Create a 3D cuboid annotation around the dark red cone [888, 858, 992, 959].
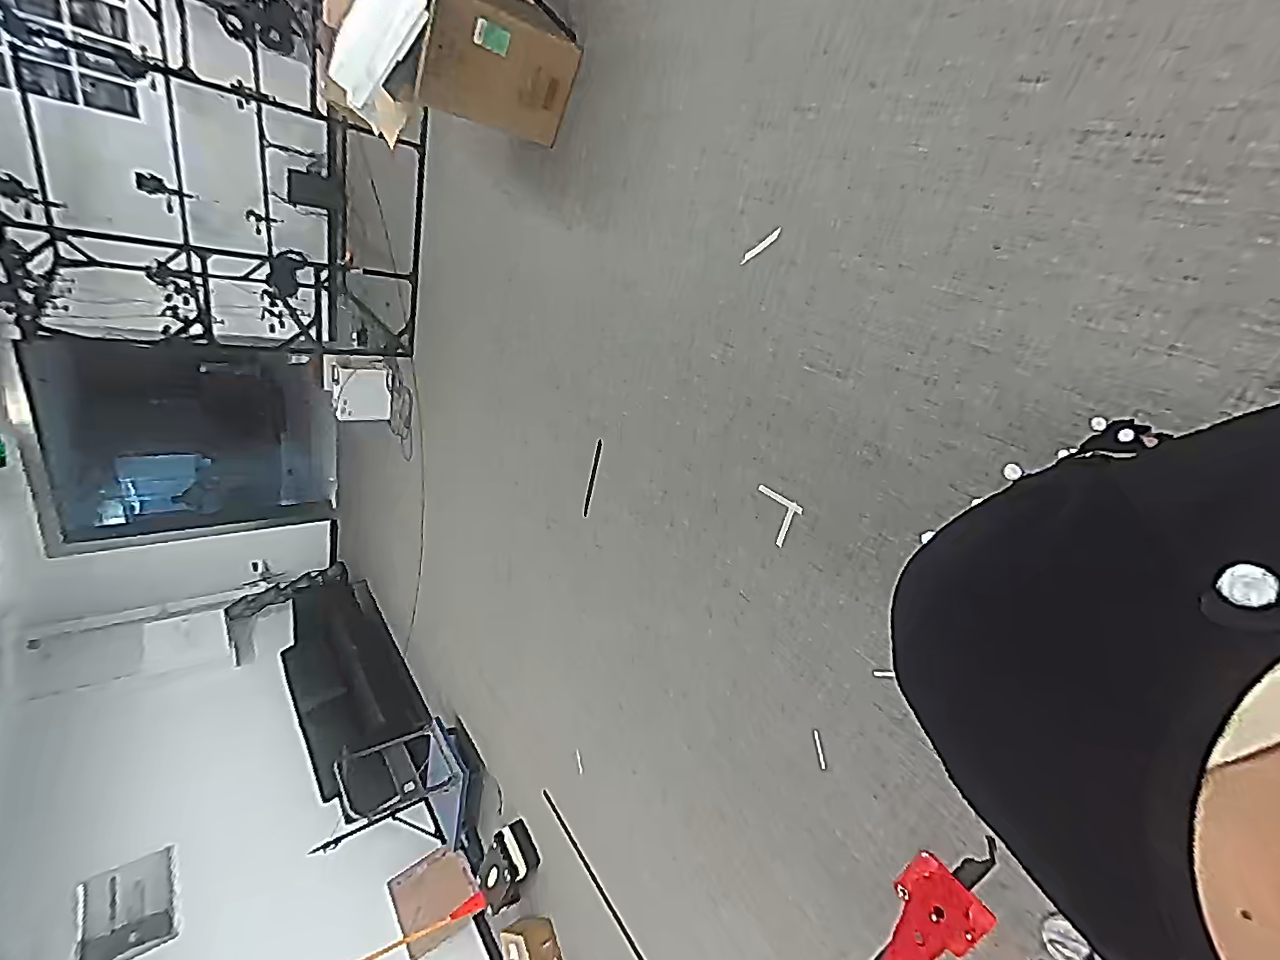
[{"bbox_3d":[0.662,1.145,1.311,0.201,0.394,0.202,37,122,39],"label":"dark red cone"}]
